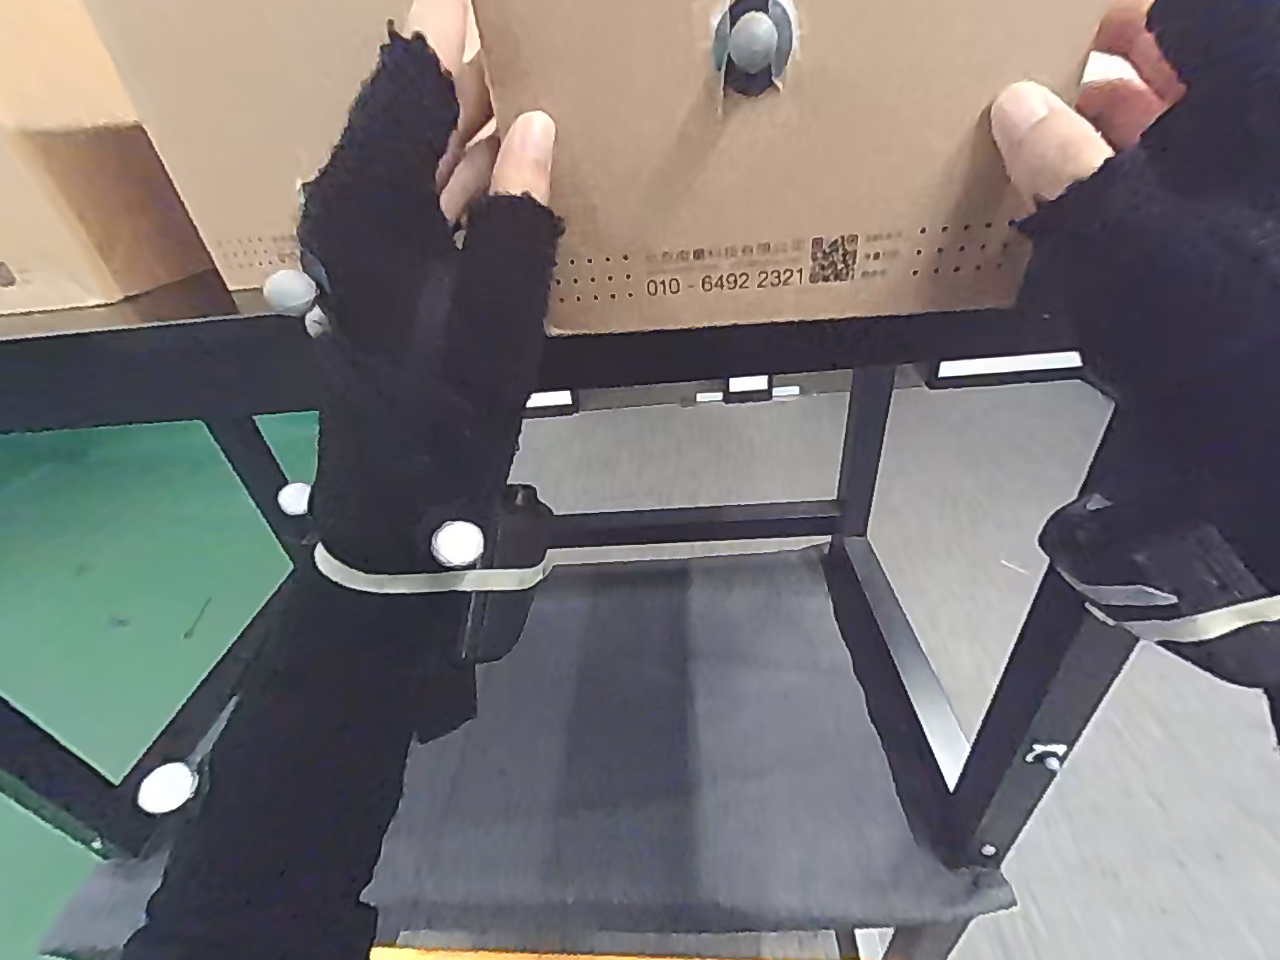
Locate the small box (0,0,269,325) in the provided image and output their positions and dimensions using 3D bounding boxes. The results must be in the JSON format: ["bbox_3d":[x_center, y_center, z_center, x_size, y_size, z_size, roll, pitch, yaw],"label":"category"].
[{"bbox_3d":[-0.416,-0.214,0.382,0.168,0.176,0.179,-3,33,7],"label":"small box"}]
